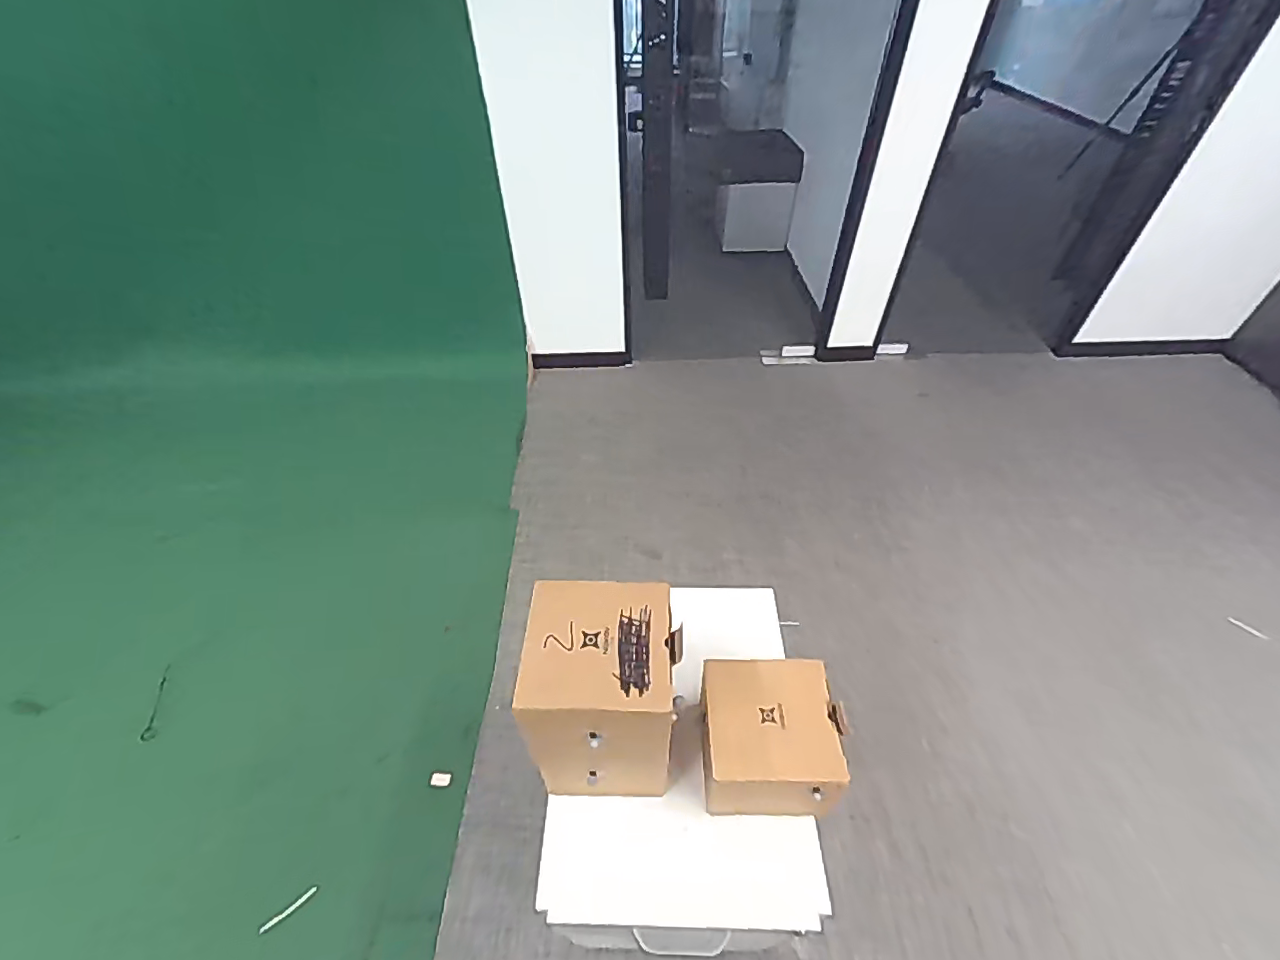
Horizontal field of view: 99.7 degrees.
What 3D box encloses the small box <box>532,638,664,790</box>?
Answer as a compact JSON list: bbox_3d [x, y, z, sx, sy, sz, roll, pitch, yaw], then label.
[{"bbox_3d":[-0.053,0.354,0.814,0.179,0.176,0.168,0,46,0],"label":"small box"}]
